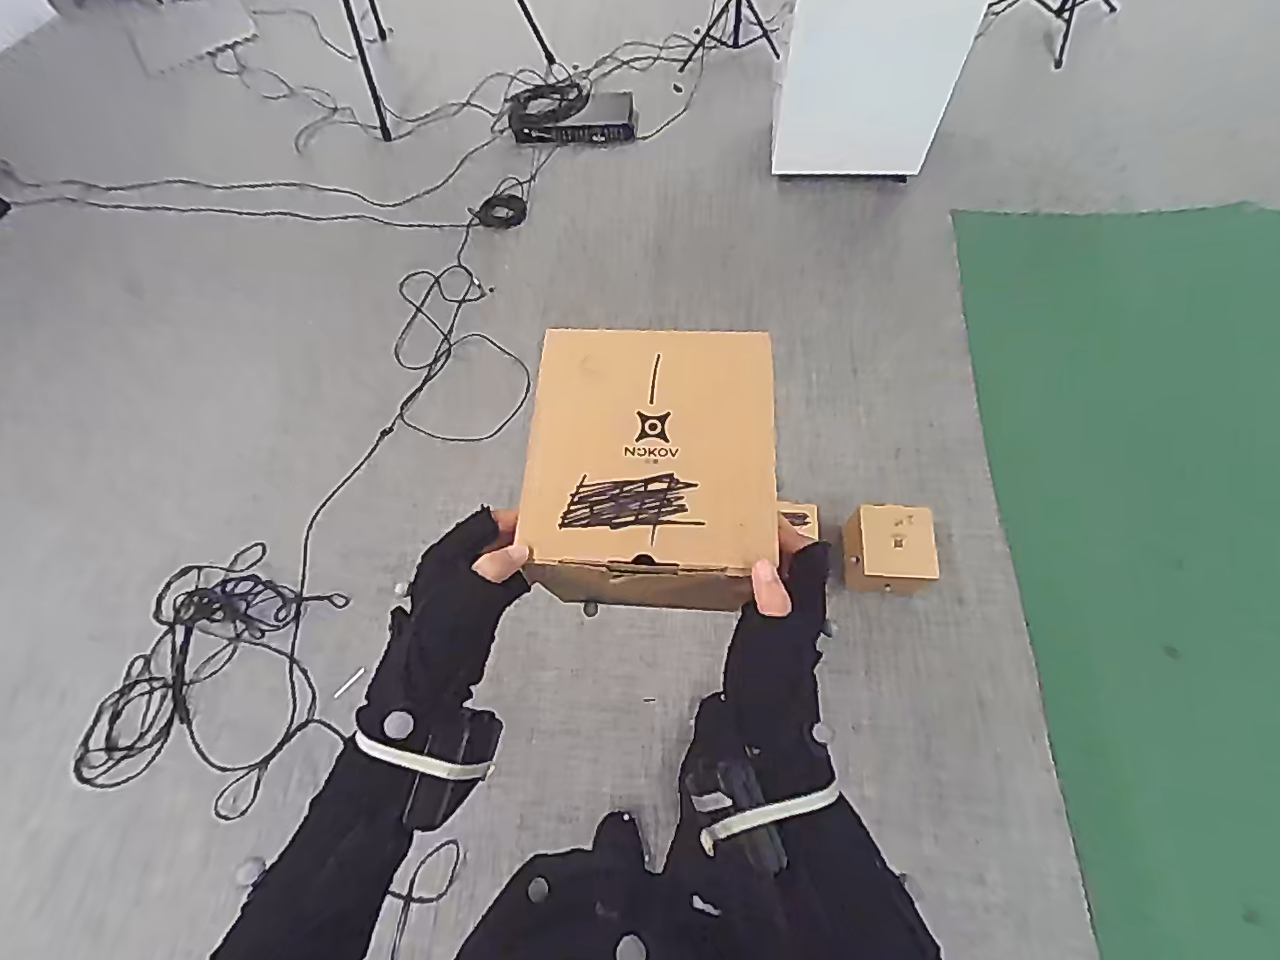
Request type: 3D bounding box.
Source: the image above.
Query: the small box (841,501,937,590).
[{"bbox_3d":[0.599,0.165,1.323,0.168,0.176,0.179,3,66,5],"label":"small box"}]
